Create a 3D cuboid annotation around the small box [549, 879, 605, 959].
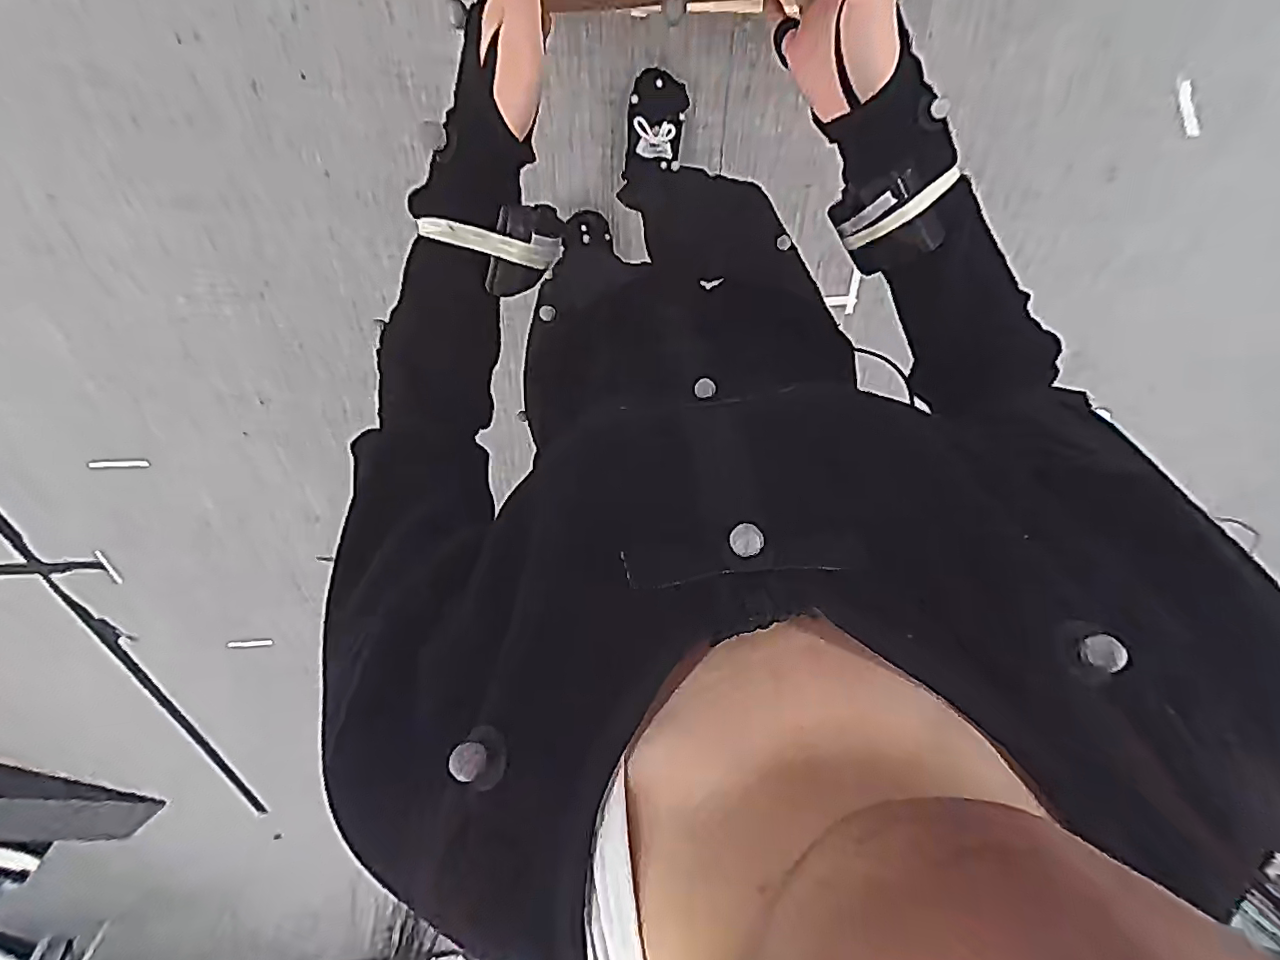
[{"bbox_3d":[-0.197,1.371,1.683,0.168,0.176,0.179,0,127,-8],"label":"small box"}]
